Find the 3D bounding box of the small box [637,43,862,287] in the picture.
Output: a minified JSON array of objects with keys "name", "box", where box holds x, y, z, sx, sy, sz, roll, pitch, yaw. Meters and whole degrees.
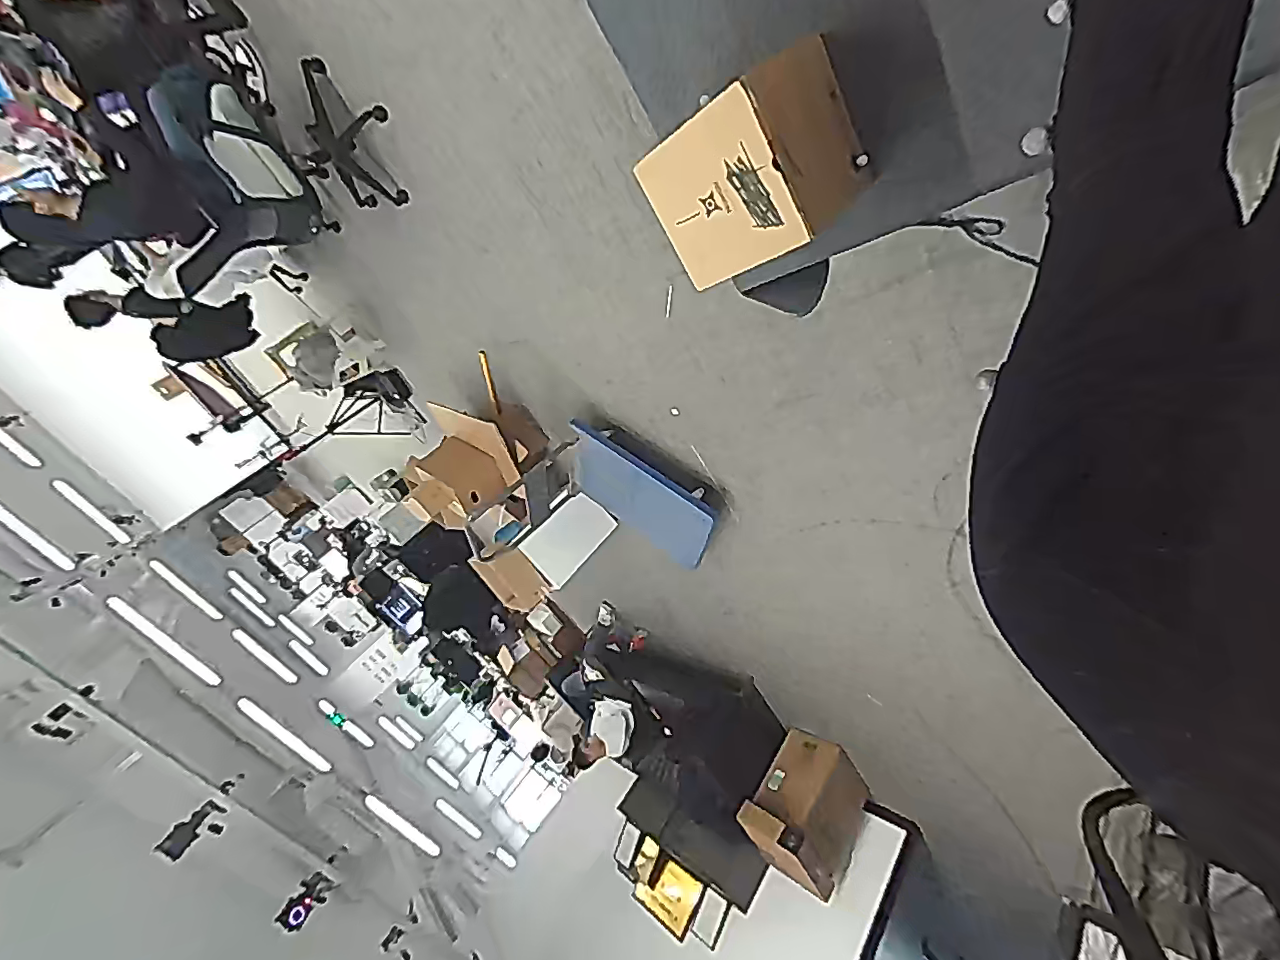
[{"name":"small box","box":[0.136,-0.364,0.638,0.179,0.176,0.168,-3,127,53]}]
